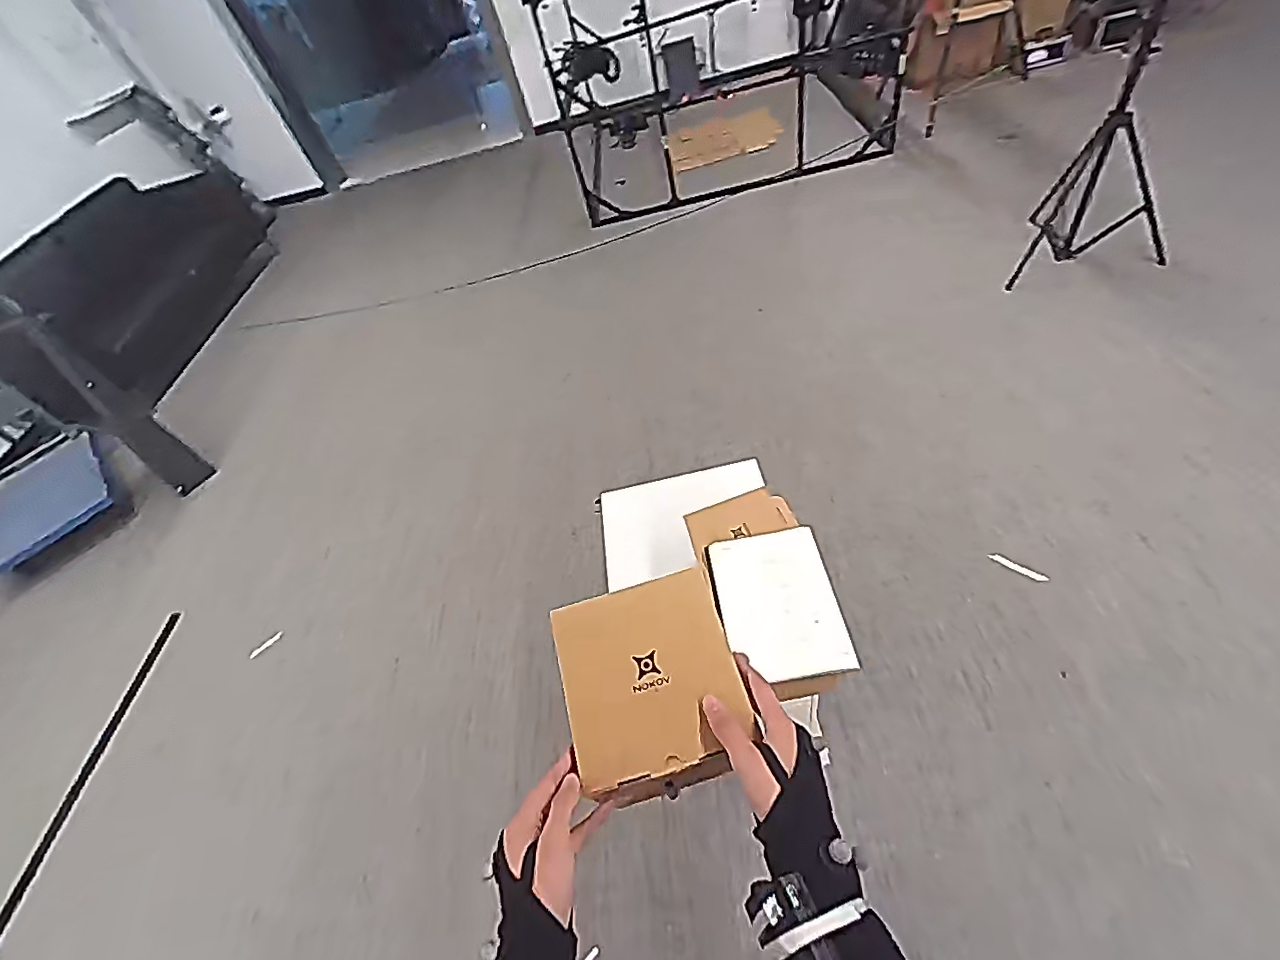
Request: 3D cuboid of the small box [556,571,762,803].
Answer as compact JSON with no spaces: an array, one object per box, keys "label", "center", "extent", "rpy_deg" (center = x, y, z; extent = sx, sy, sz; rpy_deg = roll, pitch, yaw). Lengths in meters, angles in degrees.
[{"label":"small box","center":[0.018,0.228,0.586],"extent":[0.168,0.176,0.179],"rpy_deg":[-16,56,-3]}]
